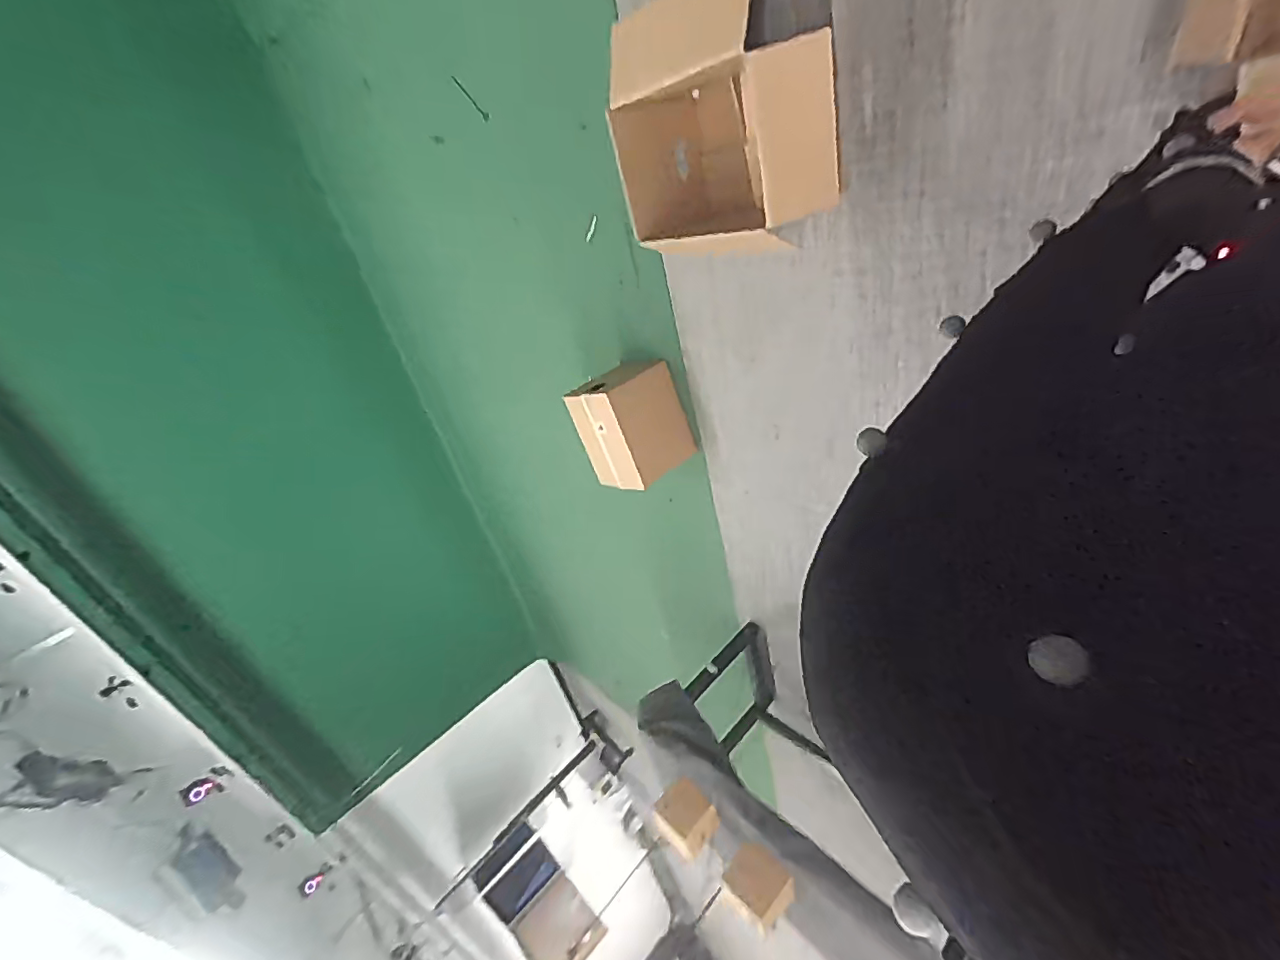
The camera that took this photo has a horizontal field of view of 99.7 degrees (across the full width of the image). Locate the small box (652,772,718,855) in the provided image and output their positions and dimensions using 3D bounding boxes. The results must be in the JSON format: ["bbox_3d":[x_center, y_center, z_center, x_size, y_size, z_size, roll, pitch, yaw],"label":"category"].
[{"bbox_3d":[0.178,1.249,2.038,0.179,0.176,0.168,23,138,44],"label":"small box"}]
